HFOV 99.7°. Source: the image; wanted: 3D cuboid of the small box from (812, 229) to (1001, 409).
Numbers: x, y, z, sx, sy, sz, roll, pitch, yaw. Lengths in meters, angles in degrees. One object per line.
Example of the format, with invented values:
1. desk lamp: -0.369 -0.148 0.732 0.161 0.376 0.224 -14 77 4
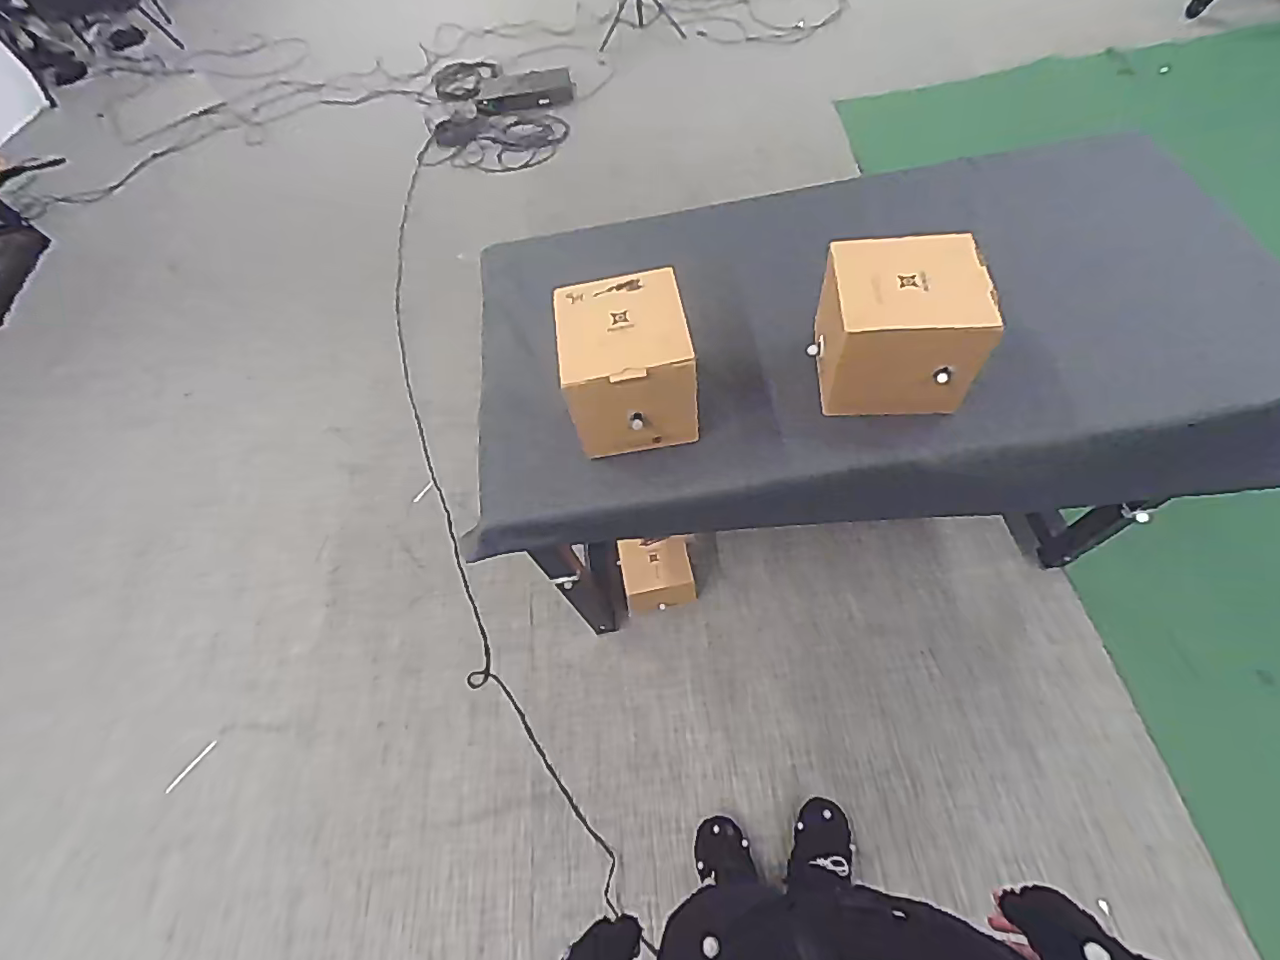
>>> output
1. small box: 0.342 -0.211 0.735 0.179 0.176 0.168 -1 60 8

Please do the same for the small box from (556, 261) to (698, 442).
1. small box: -0.014 -0.168 0.756 0.168 0.176 0.179 -10 60 2

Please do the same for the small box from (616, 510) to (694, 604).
1. small box: 0.040 0.201 1.385 0.168 0.176 0.179 -12 62 1
